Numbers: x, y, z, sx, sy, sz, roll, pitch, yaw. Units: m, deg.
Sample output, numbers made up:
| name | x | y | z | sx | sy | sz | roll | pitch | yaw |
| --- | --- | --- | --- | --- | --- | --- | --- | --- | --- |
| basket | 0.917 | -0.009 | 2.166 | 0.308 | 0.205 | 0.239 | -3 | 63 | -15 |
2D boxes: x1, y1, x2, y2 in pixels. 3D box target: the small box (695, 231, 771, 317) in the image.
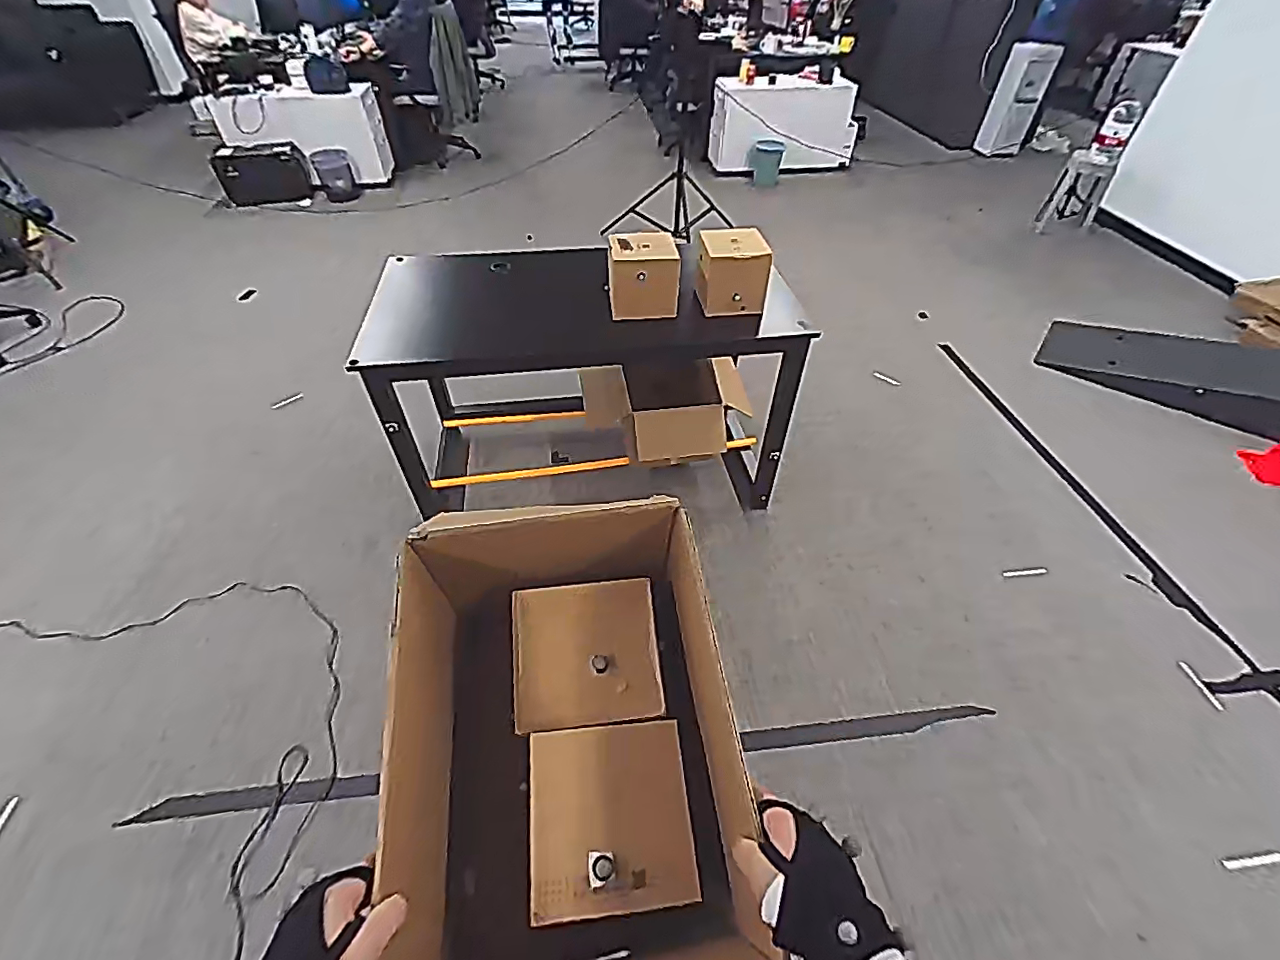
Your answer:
| name | x | y | z | sx | sy | sz | roll | pitch | yaw |
| --- | --- | --- | --- | --- | --- | --- | --- | --- | --- |
| small box | 0.248 | -0.567 | 1.492 | 0.168 | 0.176 | 0.179 | -5 | 46 | -4 |

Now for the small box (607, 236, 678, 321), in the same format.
| name | x | y | z | sx | sy | sz | roll | pitch | yaw |
| --- | --- | --- | --- | --- | --- | --- | --- | --- | --- |
| small box | 0.004 | -0.546 | 1.473 | 0.179 | 0.176 | 0.168 | -4 | 46 | -5 |
